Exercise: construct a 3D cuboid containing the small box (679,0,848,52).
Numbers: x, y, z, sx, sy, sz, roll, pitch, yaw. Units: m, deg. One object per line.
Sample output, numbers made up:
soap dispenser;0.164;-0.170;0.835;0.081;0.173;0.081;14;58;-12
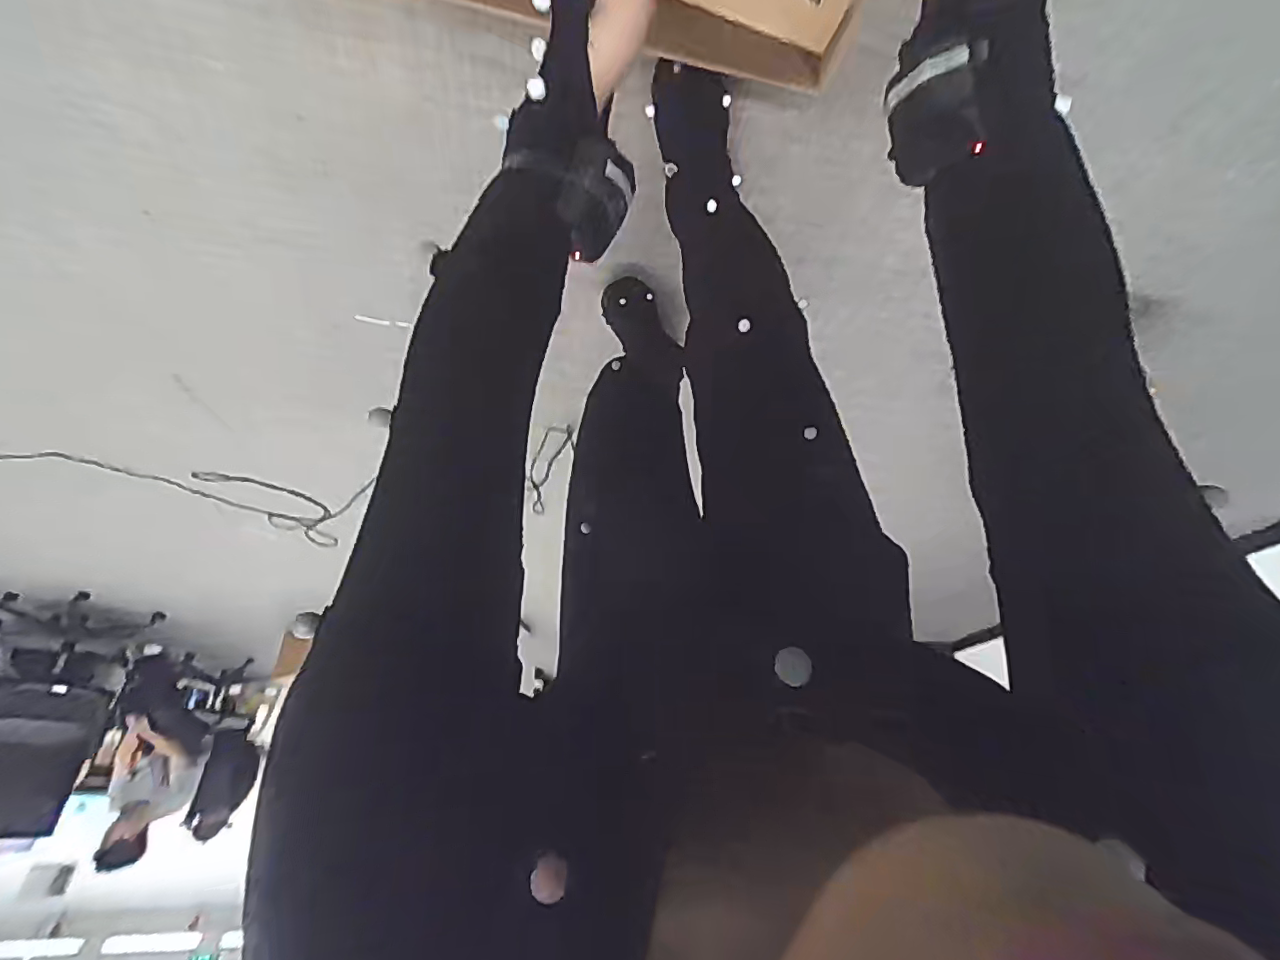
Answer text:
small box;0.092;-0.466;0.385;0.179;0.176;0.168;11;153;-13
